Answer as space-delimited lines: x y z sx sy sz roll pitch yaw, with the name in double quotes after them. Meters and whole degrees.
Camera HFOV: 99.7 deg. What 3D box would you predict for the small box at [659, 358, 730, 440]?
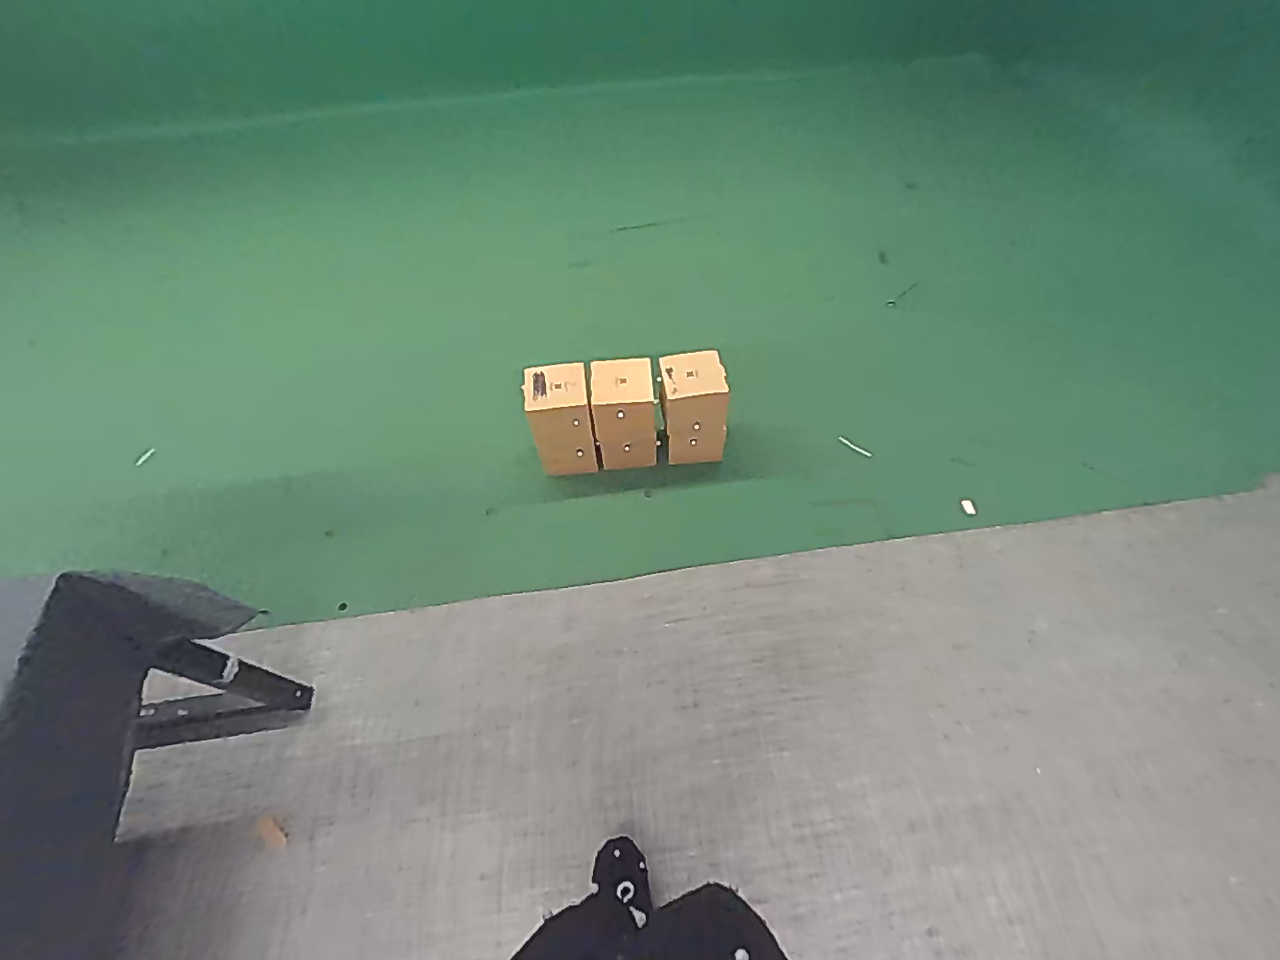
0.155 -0.237 1.604 0.179 0.176 0.168 -7 56 -4 "small box"
